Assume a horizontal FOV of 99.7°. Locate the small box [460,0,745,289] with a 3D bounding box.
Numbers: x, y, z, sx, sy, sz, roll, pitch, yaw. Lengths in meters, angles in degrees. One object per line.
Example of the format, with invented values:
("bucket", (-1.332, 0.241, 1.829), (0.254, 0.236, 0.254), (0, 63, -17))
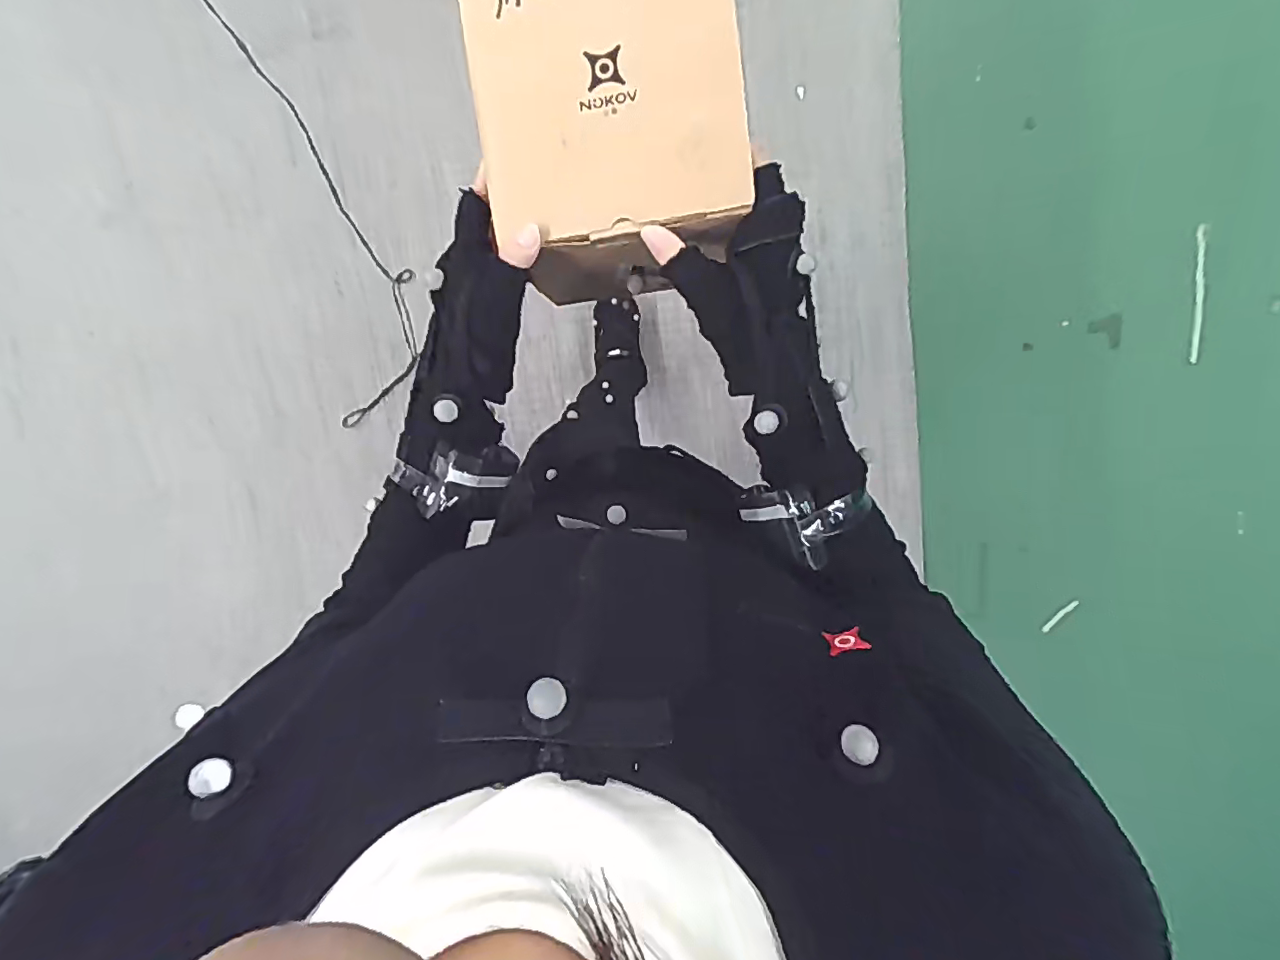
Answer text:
("small box", (-0.016, -0.254, 0.412), (0.168, 0.176, 0.179), (-7, 97, 5))
